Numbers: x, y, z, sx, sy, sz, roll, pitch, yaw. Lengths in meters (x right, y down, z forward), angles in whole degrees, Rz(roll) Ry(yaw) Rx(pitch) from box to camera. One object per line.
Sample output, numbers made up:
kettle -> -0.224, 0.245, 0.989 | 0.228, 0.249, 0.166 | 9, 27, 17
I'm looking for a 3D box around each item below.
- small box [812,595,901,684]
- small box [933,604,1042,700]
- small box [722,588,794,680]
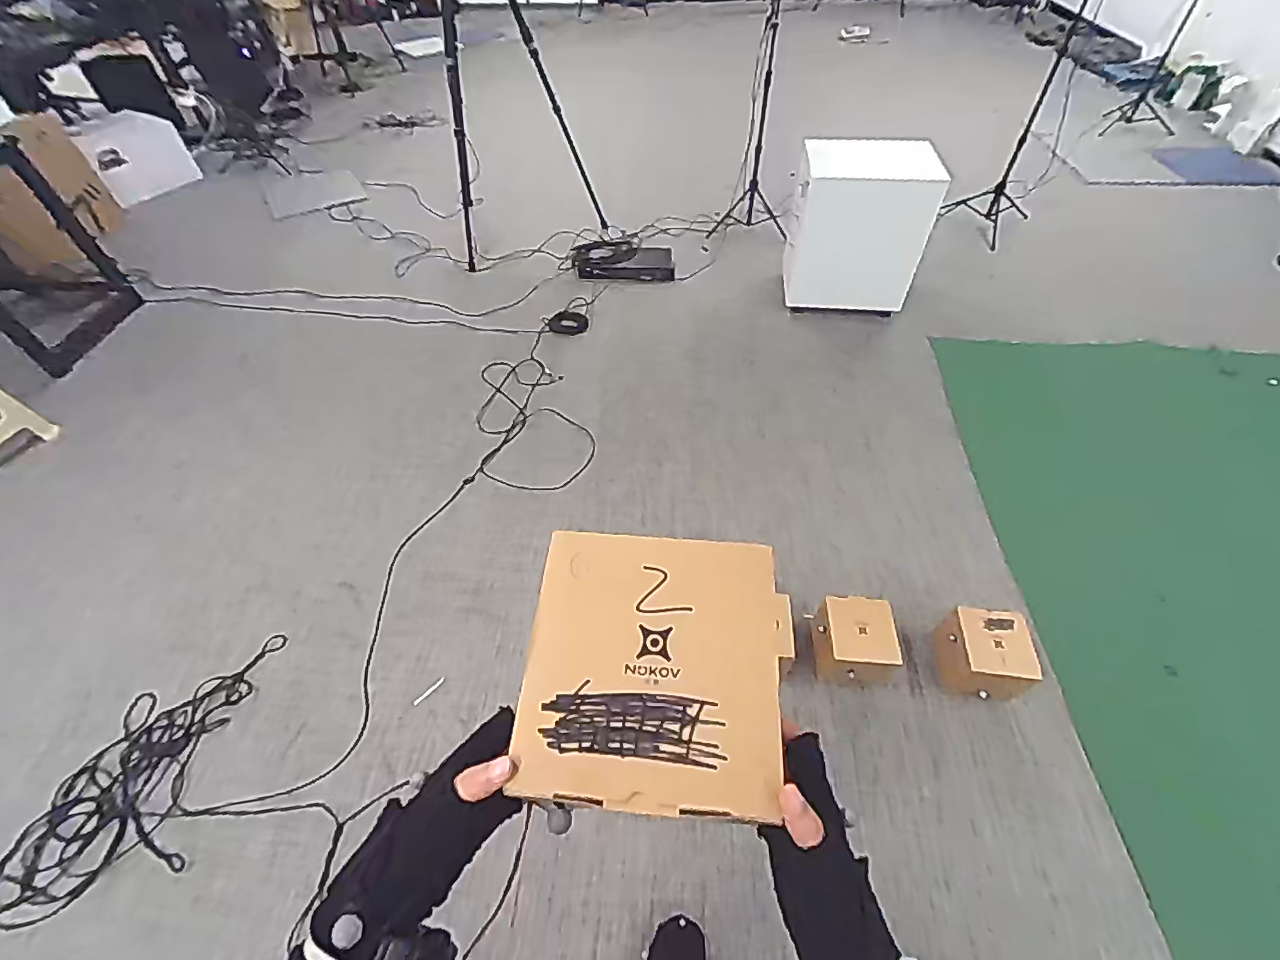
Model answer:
small box -> 0.563, 0.425, 1.429 | 0.168, 0.176, 0.179 | 3, 50, 4
small box -> 0.886, 0.447, 1.402 | 0.168, 0.176, 0.179 | 6, 52, 6
small box -> 0.308, 0.412, 1.442 | 0.168, 0.176, 0.179 | 3, 51, 5
